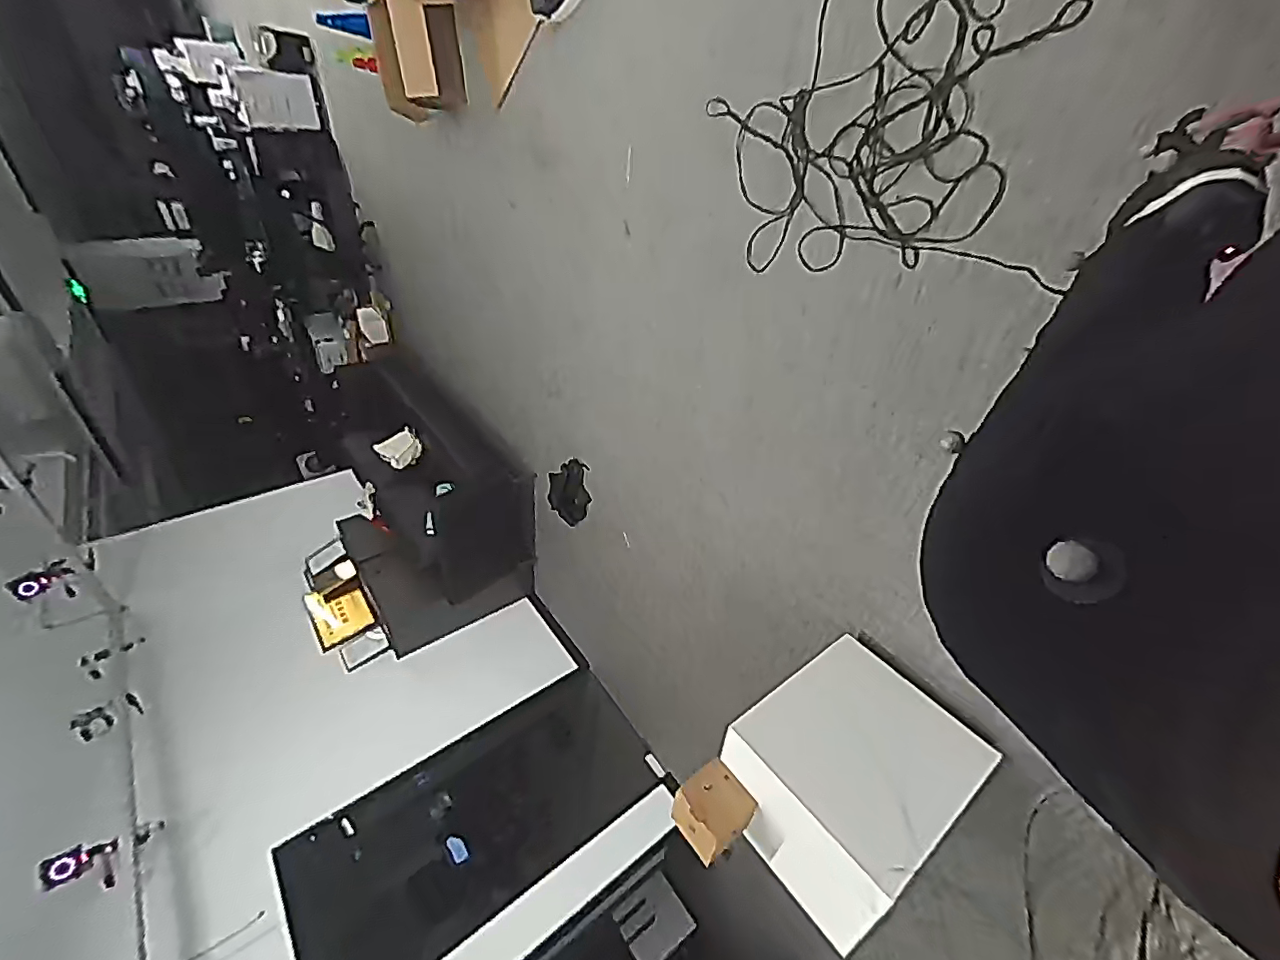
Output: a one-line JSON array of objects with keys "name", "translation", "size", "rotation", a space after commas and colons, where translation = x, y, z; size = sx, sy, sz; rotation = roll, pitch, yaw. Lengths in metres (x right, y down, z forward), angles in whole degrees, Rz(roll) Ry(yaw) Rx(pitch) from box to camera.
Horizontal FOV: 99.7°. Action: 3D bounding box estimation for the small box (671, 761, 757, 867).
[{"name": "small box", "translation": [0.215, 0.955, 1.557], "size": [0.168, 0.176, 0.179], "rotation": [41, 140, 38]}]
